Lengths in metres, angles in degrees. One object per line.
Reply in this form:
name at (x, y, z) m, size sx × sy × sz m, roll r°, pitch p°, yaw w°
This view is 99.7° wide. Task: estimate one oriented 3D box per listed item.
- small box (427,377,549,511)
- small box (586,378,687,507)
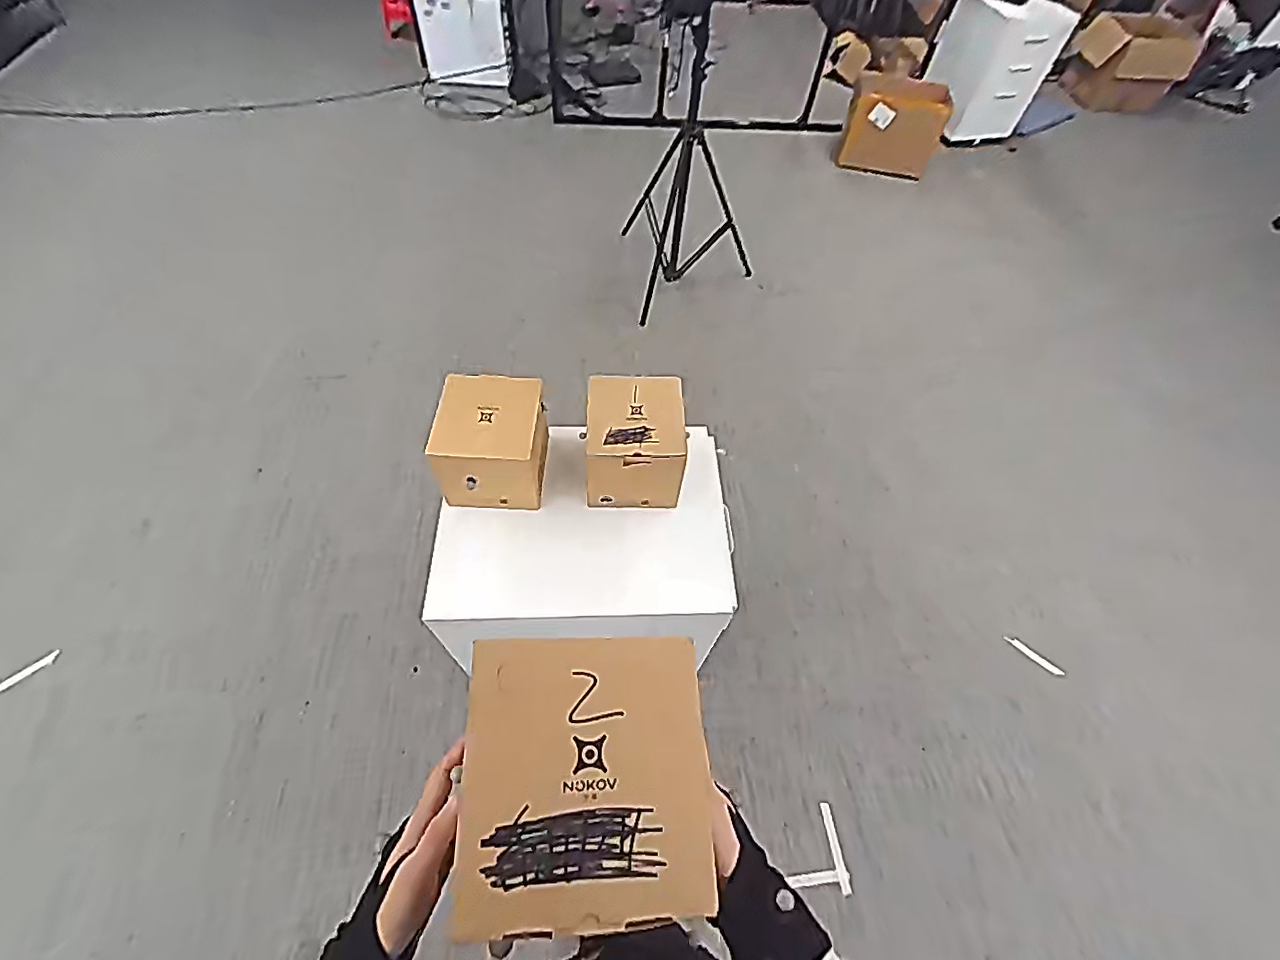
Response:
small box at (-0.255, -0.059, 0.957) m, size 0.168 × 0.176 × 0.179 m, roll 3°, pitch 57°, yaw -3°
small box at (-0.010, -0.062, 0.975) m, size 0.168 × 0.176 × 0.179 m, roll 0°, pitch 57°, yaw -4°
